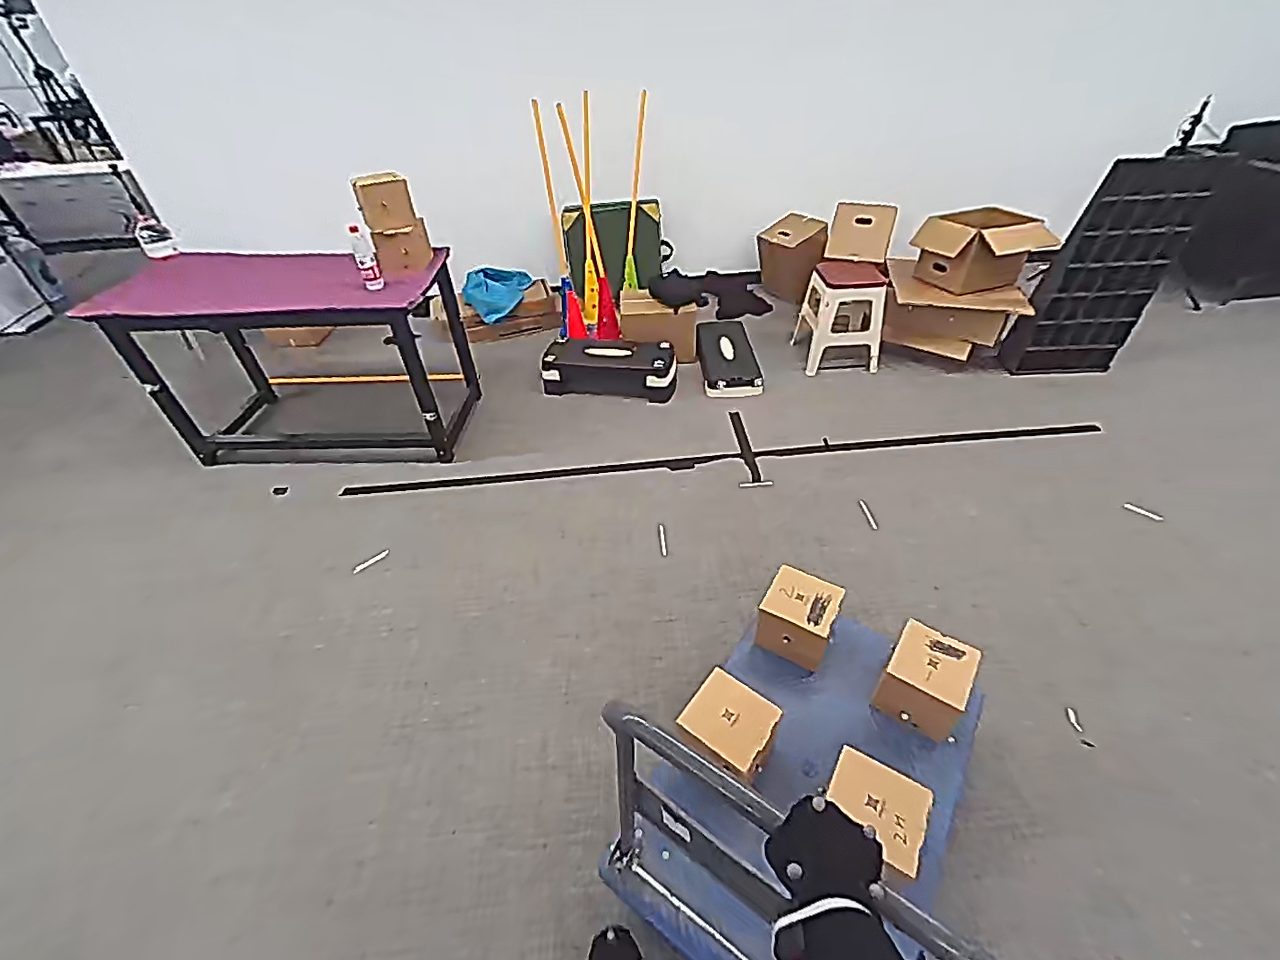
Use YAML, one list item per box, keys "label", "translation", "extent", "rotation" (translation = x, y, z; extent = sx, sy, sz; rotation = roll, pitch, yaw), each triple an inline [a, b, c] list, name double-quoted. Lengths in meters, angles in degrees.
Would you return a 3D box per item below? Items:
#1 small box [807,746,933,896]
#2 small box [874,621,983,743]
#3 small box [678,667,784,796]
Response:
- label: "small box"
  translation: [0.450, 0.681, 1.078]
  extent: [0.179, 0.176, 0.168]
  rotation: [23, 47, 26]
- label: "small box"
  translation: [0.682, 0.482, 1.291]
  extent: [0.168, 0.176, 0.179]
  rotation: [25, 50, 28]
- label: "small box"
  translation: [0.198, 0.569, 1.220]
  extent: [0.179, 0.176, 0.168]
  rotation: [28, 50, 28]
